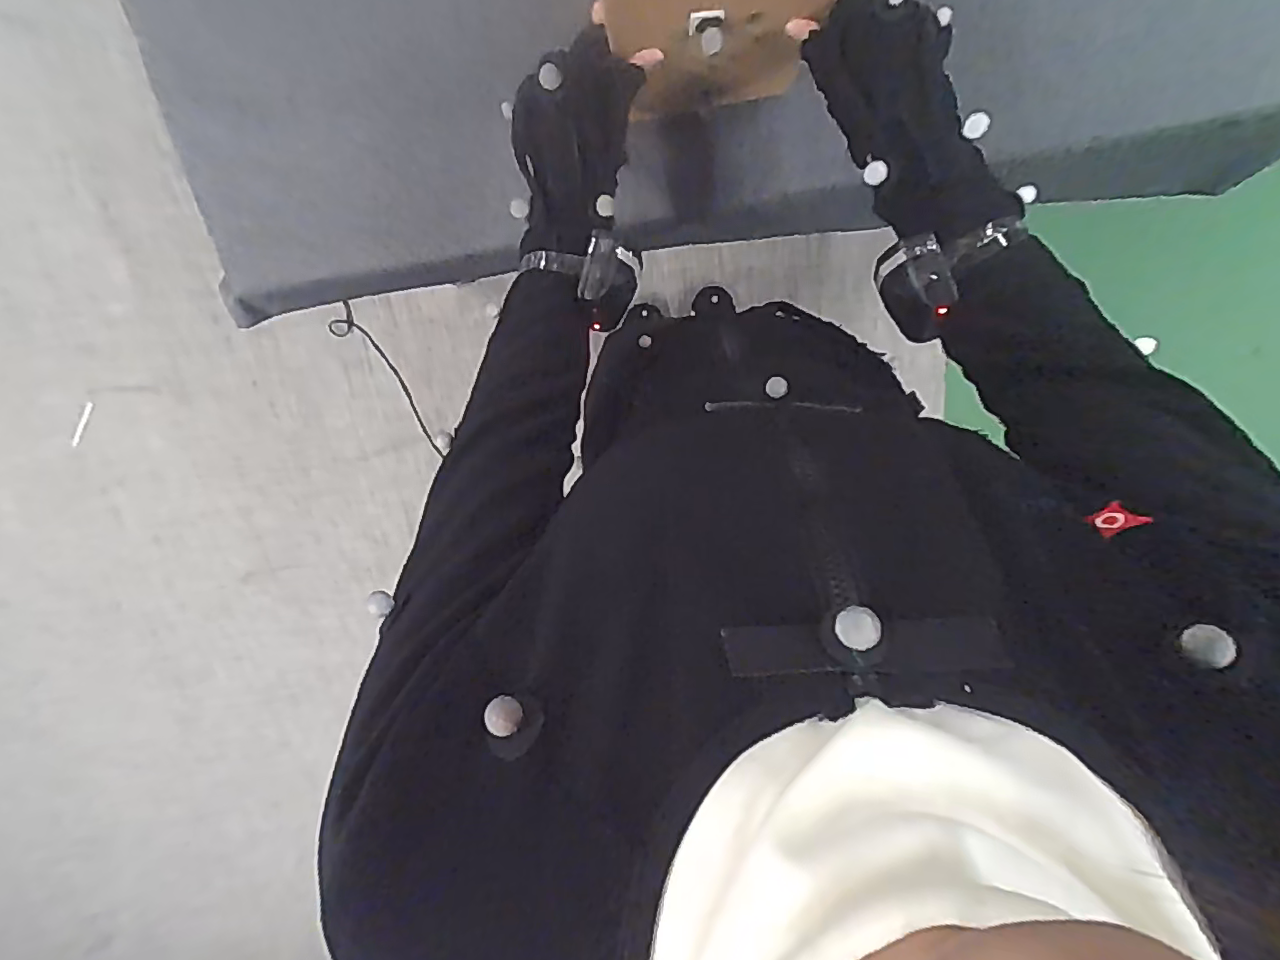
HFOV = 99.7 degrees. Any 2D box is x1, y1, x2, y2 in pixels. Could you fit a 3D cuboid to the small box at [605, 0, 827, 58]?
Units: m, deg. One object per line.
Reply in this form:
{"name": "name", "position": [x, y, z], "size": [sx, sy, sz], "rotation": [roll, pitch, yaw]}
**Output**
{"name": "small box", "position": [0.043, -0.389, 0.306], "size": [0.168, 0.176, 0.179], "rotation": [-10, 109, 5]}

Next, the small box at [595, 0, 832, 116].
{"name": "small box", "position": [0.047, -0.440, 0.460], "size": [0.179, 0.176, 0.168], "rotation": [-9, 108, 3]}
